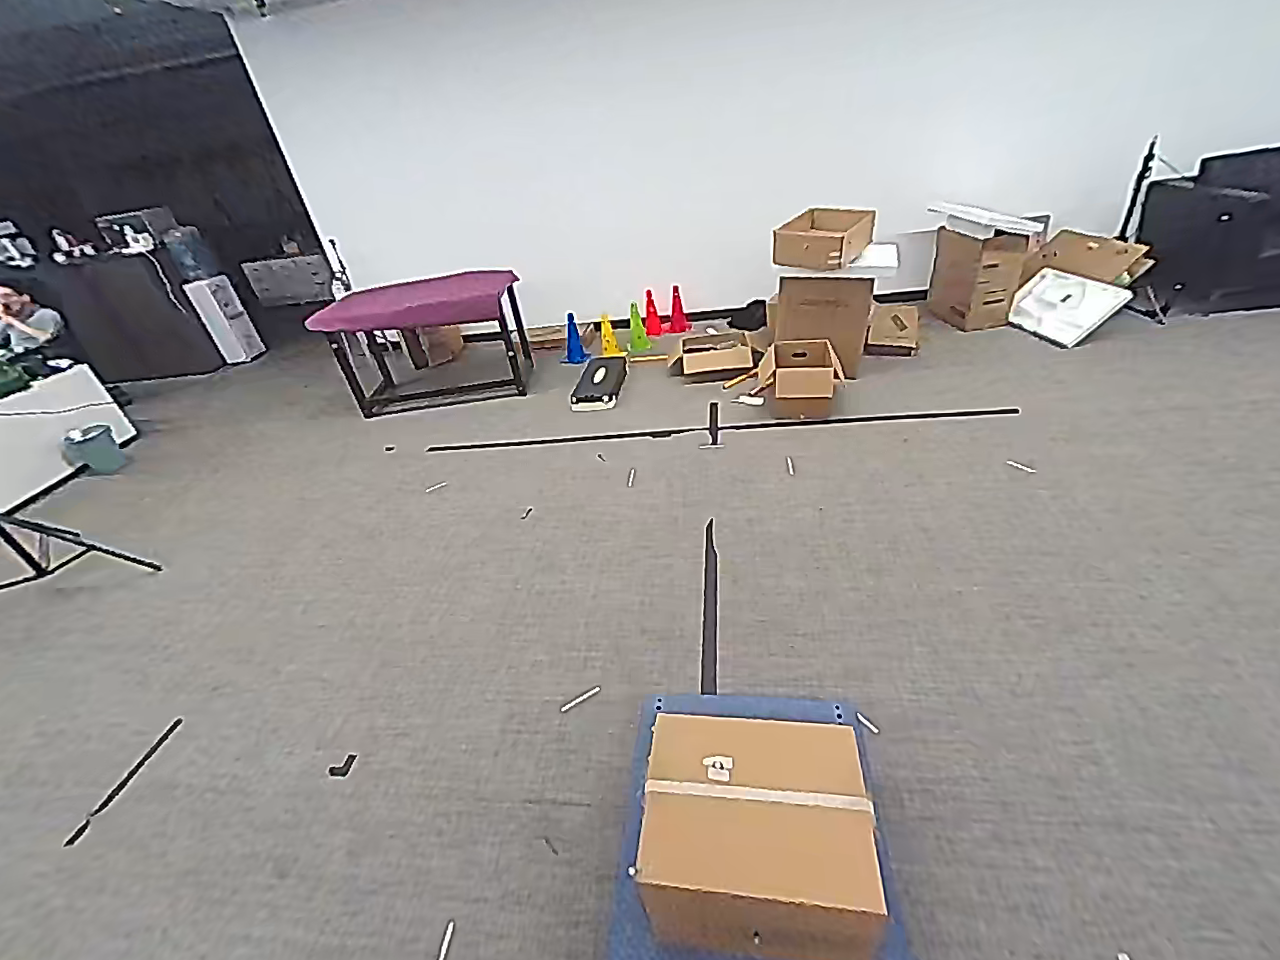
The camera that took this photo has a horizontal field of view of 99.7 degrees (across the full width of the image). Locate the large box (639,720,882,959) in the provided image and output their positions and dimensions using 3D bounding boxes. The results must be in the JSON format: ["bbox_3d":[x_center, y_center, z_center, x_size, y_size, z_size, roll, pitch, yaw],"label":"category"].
[{"bbox_3d":[0.234,0.718,1.097,0.408,0.320,0.320,-3,33,11],"label":"large box"}]
